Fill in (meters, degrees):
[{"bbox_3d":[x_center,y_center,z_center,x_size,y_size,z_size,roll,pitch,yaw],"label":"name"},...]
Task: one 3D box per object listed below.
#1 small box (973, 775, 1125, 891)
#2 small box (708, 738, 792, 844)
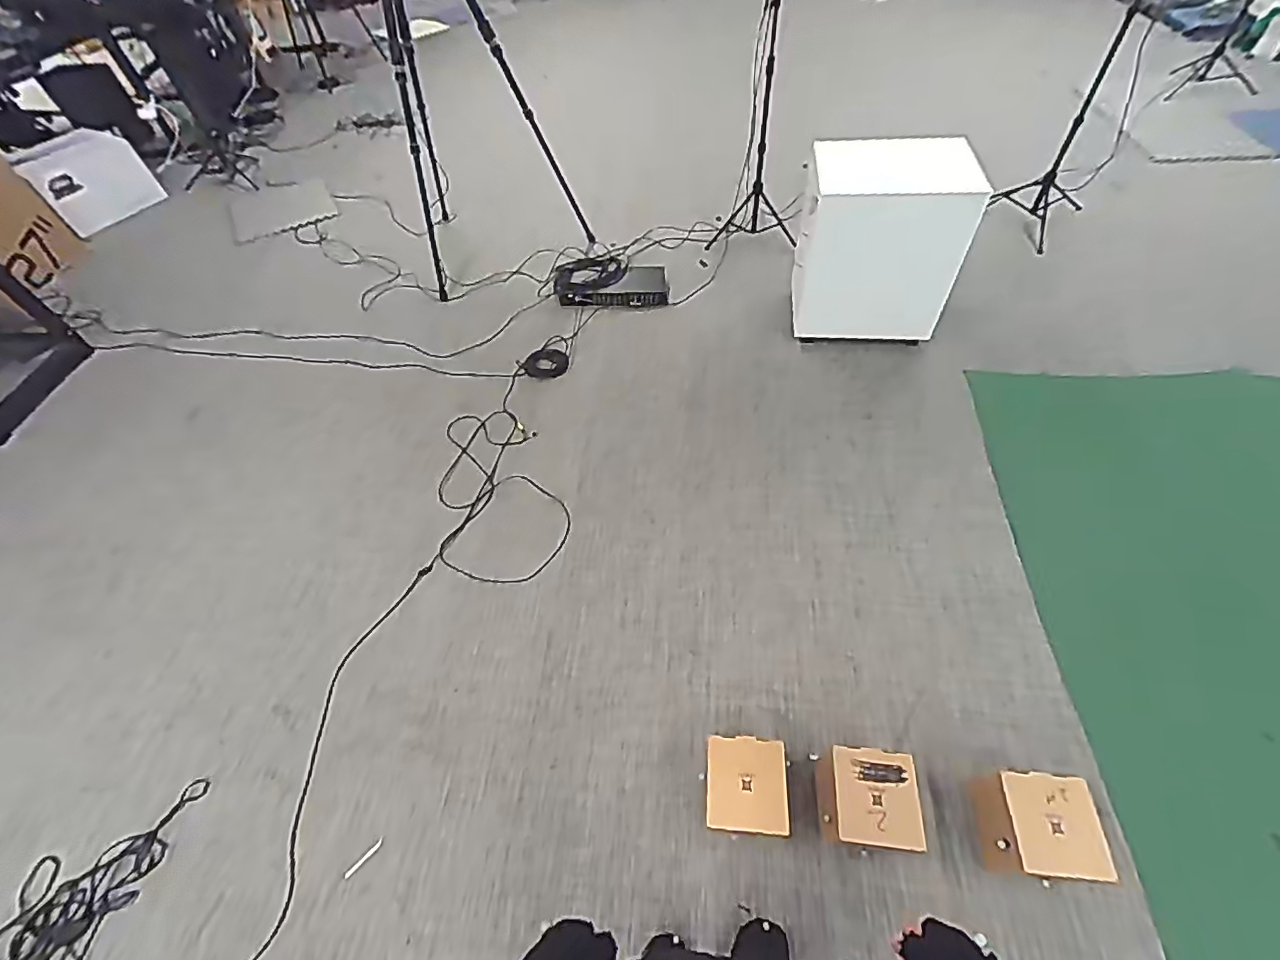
[{"bbox_3d":[0.819,0.721,1.106,0.168,0.176,0.179,2,53,6],"label":"small box"},{"bbox_3d":[0.236,0.684,1.186,0.168,0.176,0.179,1,53,7],"label":"small box"}]
